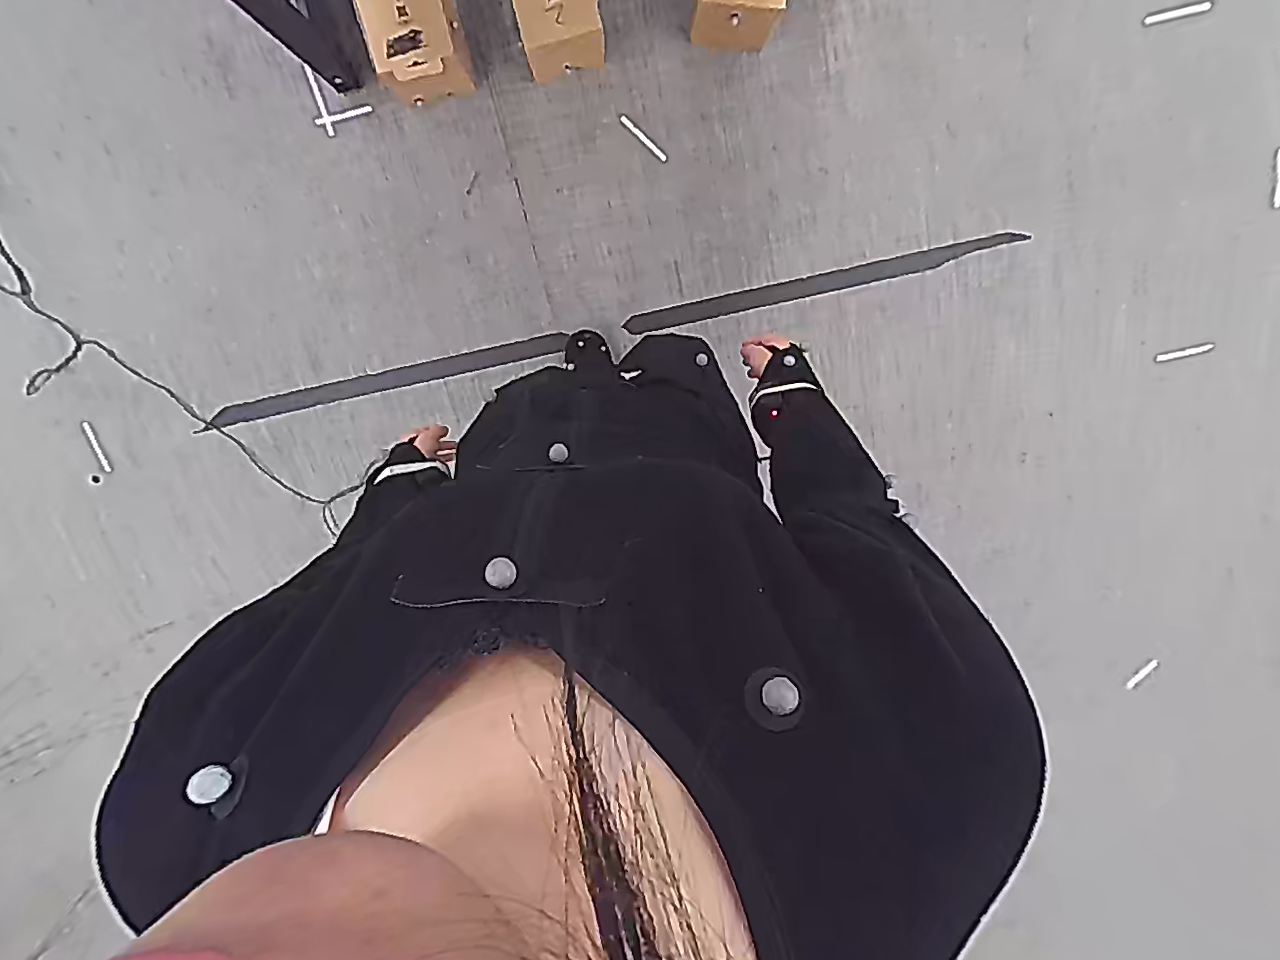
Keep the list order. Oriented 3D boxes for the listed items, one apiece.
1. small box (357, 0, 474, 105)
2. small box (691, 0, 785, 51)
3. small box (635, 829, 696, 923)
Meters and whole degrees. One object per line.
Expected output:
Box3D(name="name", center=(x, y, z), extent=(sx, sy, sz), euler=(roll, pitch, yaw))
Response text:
Box3D(name="small box", center=(-0.472, -0.936, 1.154), extent=(0.168, 0.176, 0.179), euler=(-12, 104, 1))
Box3D(name="small box", center=(0.210, -1.052, 1.150), extent=(0.179, 0.176, 0.168), euler=(4, 106, -2))
Box3D(name="small box", center=(0.082, 1.303, 1.784), extent=(0.168, 0.176, 0.179), euler=(-14, 106, 2))
